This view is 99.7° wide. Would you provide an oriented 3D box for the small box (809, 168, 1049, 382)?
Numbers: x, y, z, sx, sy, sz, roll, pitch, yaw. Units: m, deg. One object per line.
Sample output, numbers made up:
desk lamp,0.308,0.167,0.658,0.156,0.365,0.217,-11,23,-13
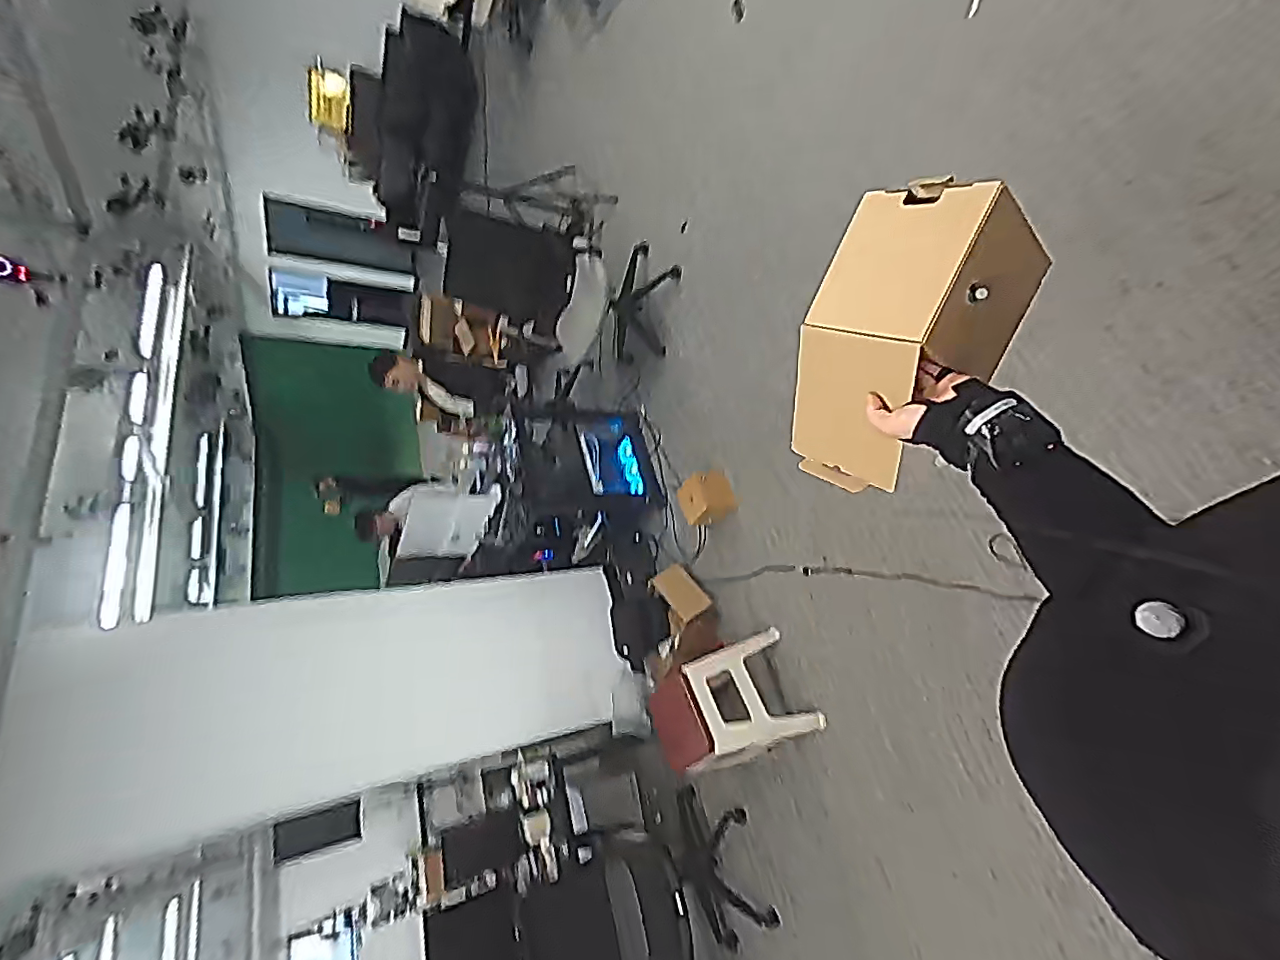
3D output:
small box,0.347,-0.237,0.651,0.168,0.176,0.179,36,104,51
